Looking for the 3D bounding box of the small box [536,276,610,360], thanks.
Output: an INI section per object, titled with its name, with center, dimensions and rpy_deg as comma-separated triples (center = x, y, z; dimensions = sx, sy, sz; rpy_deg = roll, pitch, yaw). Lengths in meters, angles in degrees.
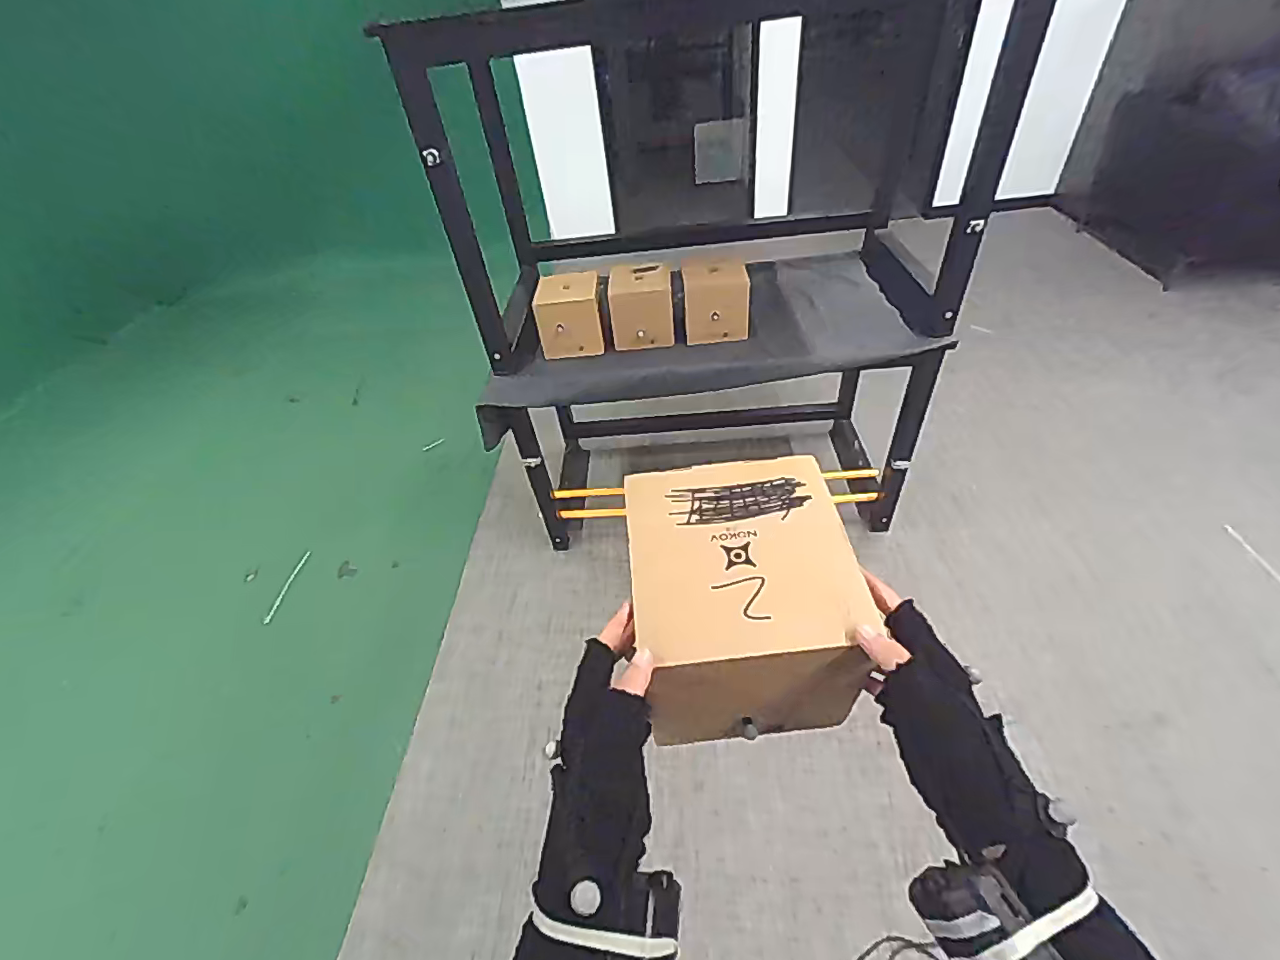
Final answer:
[small box]
center = -0.178, -0.444, 1.501
dimensions = 0.168, 0.176, 0.179
rpy_deg = -4, 42, 4
